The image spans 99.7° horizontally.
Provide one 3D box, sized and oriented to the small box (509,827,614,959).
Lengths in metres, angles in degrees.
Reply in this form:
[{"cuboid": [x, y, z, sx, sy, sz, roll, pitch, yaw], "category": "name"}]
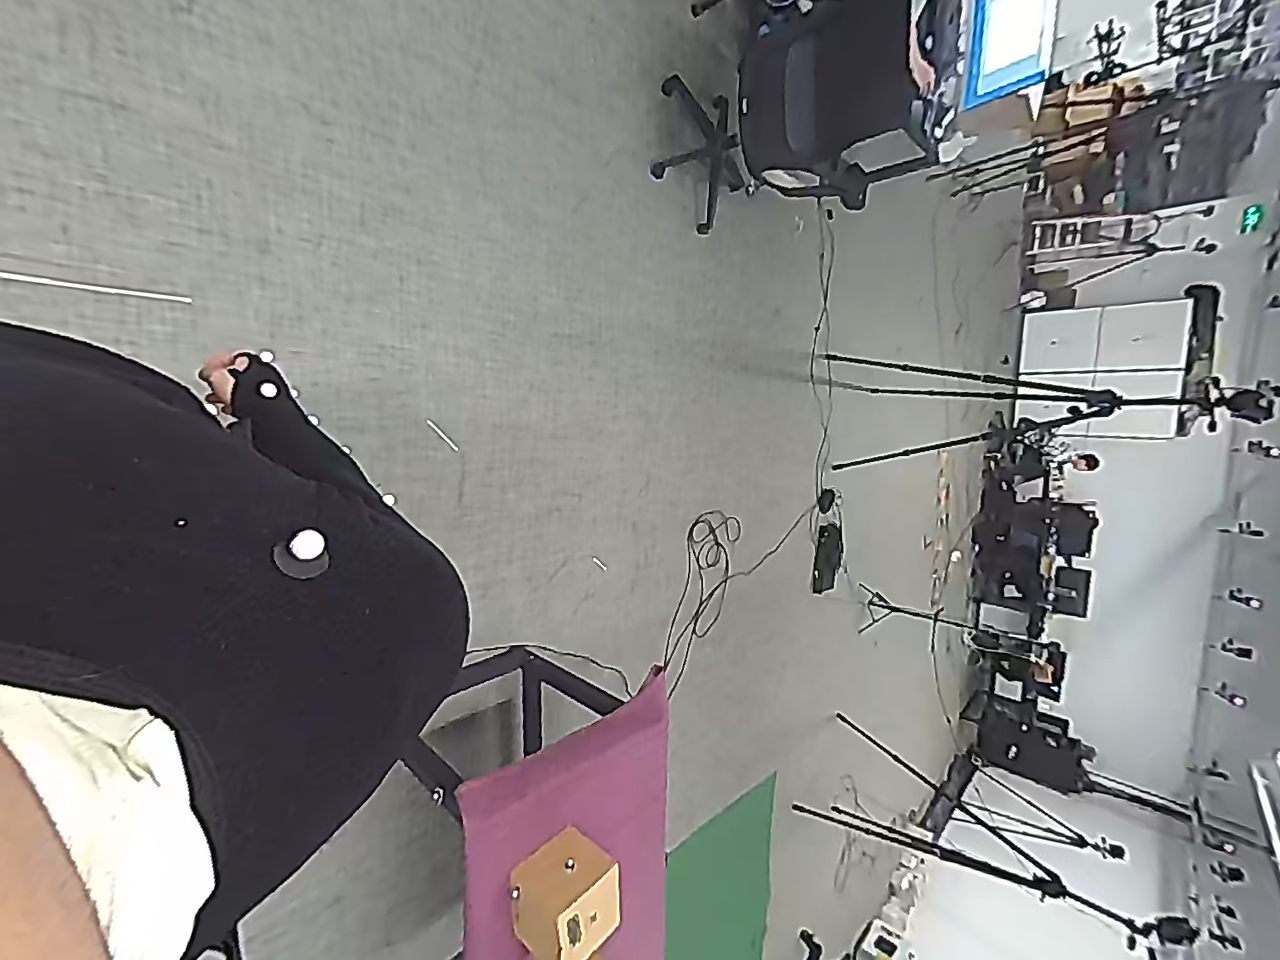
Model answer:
[{"cuboid": [-0.179, 0.930, 1.205, 0.179, 0.176, 0.168, -11, 104, -47], "category": "small box"}]
